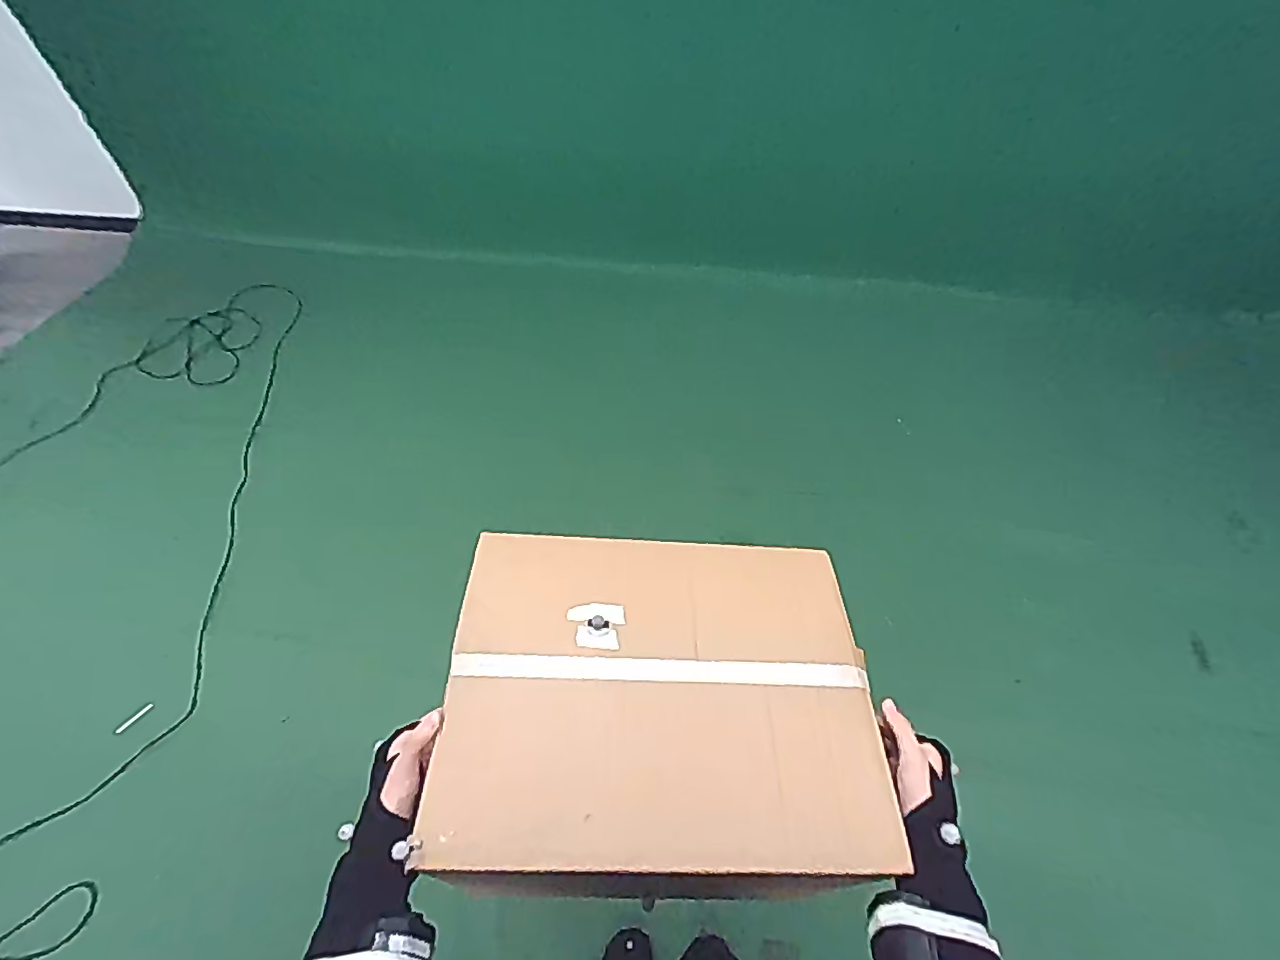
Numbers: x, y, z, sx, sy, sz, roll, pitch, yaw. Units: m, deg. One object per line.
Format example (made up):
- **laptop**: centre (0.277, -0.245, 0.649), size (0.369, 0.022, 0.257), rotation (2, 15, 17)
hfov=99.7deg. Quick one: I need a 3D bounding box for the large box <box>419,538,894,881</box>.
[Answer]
- **large box**: centre (0.009, 0.285, 0.652), size (0.408, 0.320, 0.320), rotation (3, 50, -3)
